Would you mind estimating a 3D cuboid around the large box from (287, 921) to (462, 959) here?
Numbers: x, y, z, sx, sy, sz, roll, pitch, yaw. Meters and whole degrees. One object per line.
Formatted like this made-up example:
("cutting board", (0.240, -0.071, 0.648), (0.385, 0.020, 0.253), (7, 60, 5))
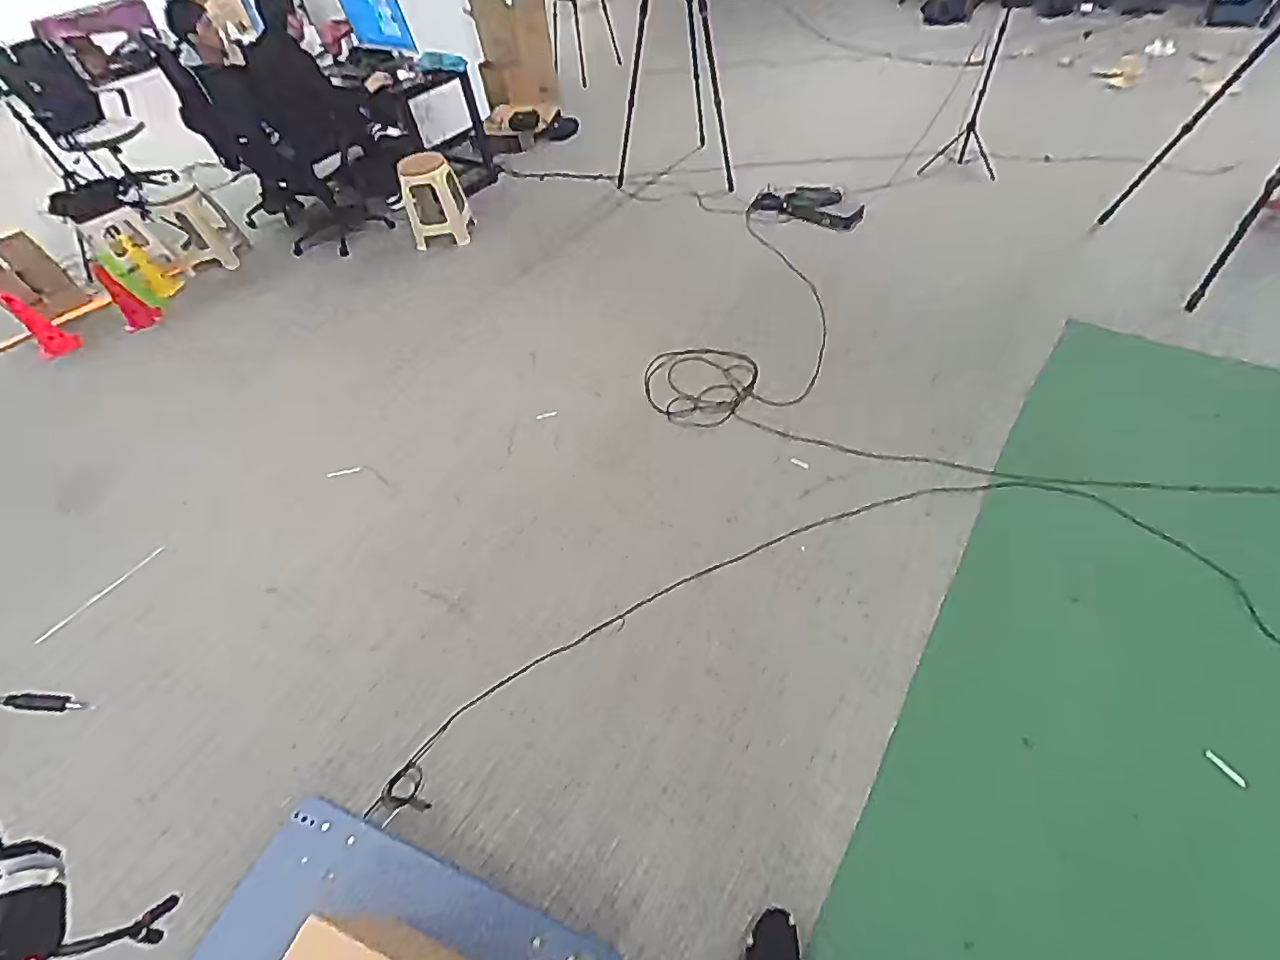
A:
("large box", (-0.416, 1.002, 0.899), (0.408, 0.320, 0.320), (12, 52, 18))
